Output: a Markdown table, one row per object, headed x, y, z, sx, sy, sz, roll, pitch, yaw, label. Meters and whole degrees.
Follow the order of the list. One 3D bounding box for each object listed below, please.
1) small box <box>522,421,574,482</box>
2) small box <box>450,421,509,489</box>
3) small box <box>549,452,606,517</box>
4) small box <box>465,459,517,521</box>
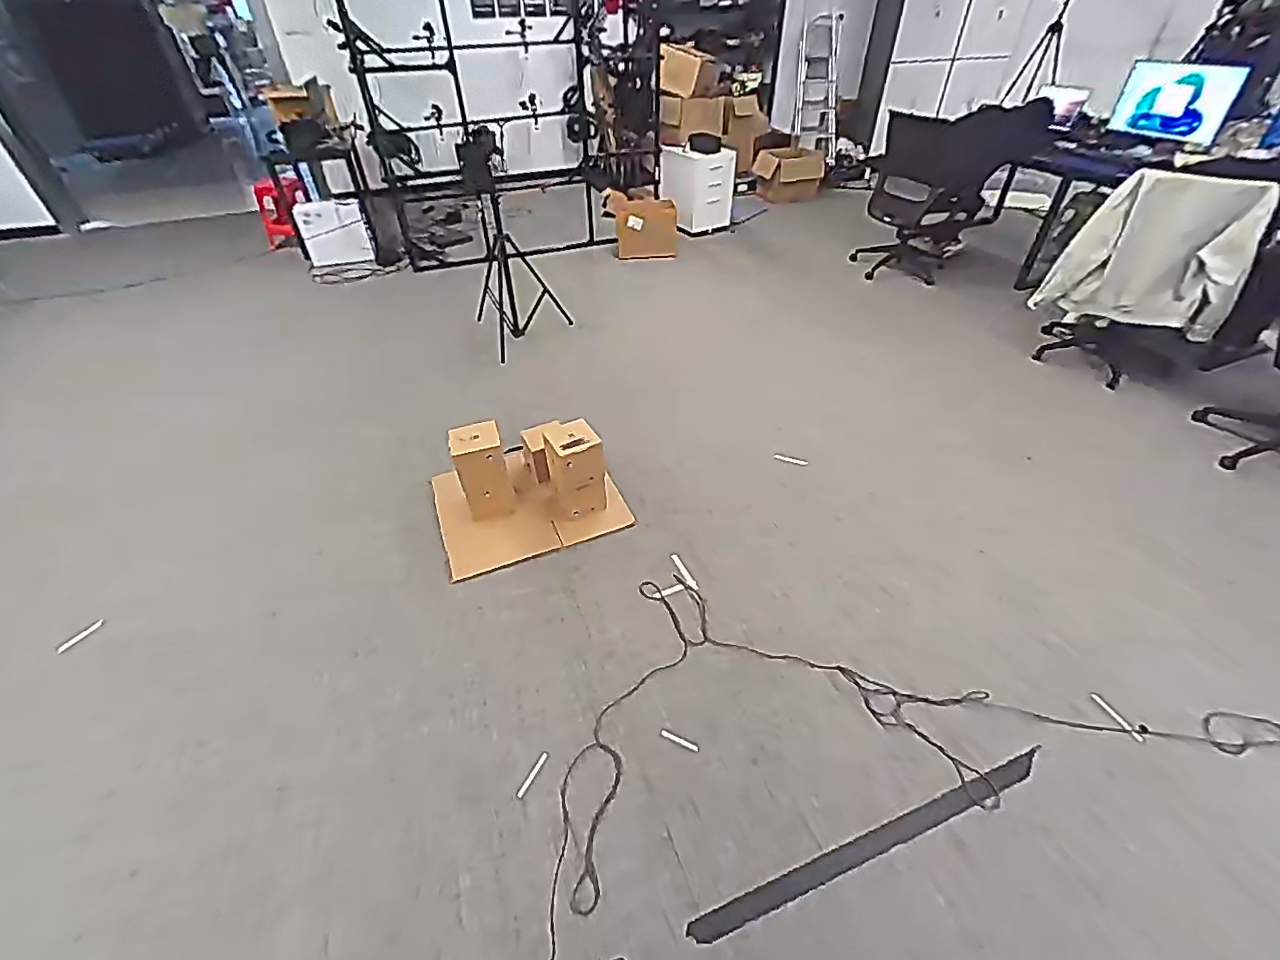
| x | y | z | sx | sy | sz | roll | pitch | yaw | label |
| --- | --- | --- | --- | --- | --- | --- | --- | --- | --- |
| -0.382 | -0.120 | 2.279 | 0.179 | 0.176 | 0.168 | -20 | 44 | -19 | small box |
| -0.591 | -0.091 | 2.000 | 0.179 | 0.176 | 0.168 | -14 | 43 | -13 | small box |
| -0.241 | 0.022 | 2.112 | 0.168 | 0.176 | 0.179 | -20 | 44 | -20 | small box |
| -0.585 | 0.032 | 2.109 | 0.179 | 0.176 | 0.168 | -15 | 44 | -13 | small box |
